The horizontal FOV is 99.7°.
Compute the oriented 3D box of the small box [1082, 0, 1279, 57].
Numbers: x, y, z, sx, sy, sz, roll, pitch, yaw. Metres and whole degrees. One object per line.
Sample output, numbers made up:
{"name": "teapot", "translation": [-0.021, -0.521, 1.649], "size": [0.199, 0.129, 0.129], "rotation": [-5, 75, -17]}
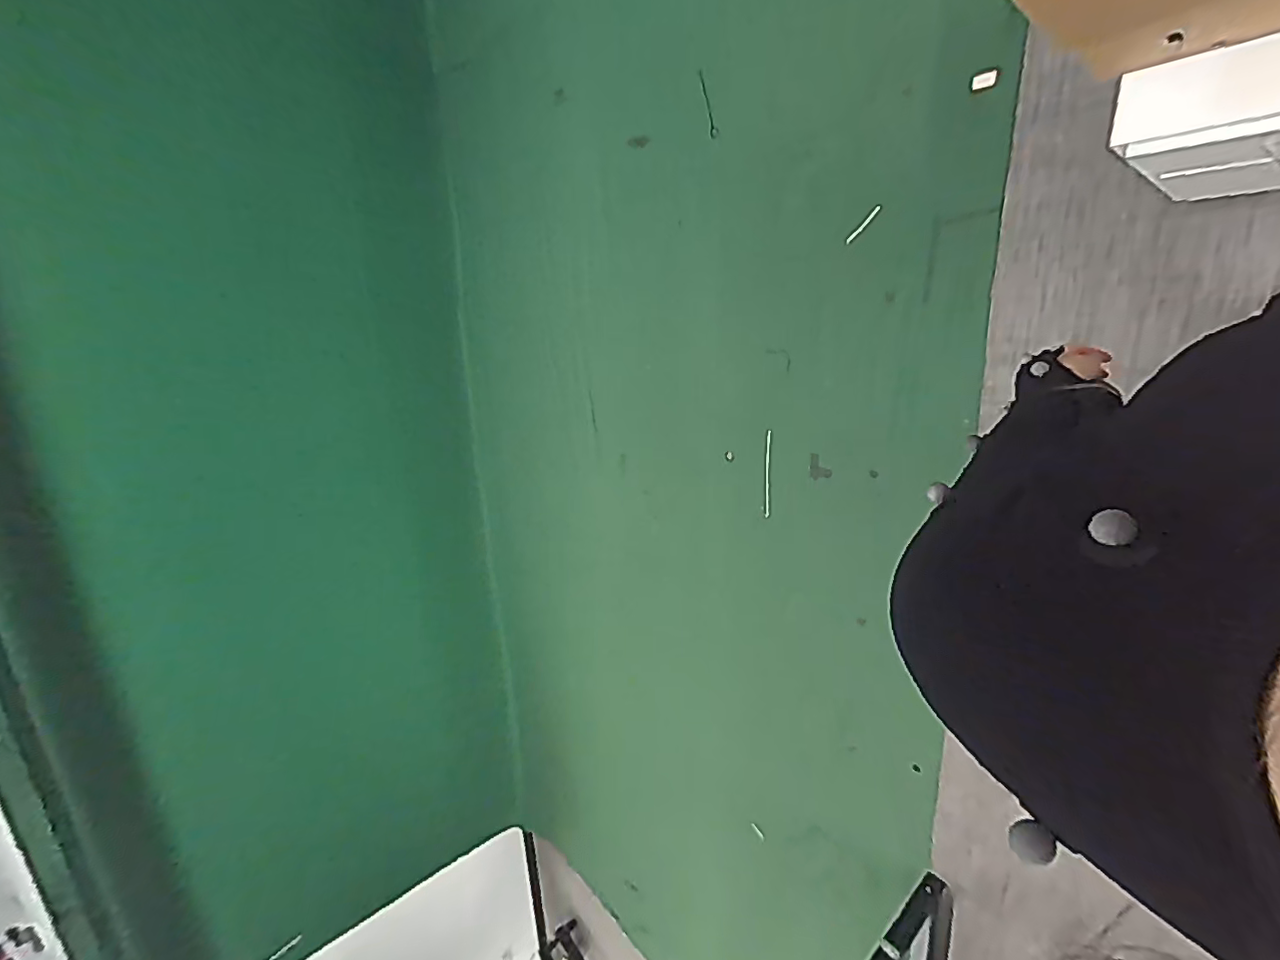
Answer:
{"name": "small box", "translation": [0.554, -0.549, 0.526], "size": [0.168, 0.176, 0.179], "rotation": [16, 114, 45]}

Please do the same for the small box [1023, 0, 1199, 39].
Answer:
{"name": "small box", "translation": [0.433, -0.500, 0.429], "size": [0.179, 0.176, 0.168], "rotation": [16, 113, 47]}
